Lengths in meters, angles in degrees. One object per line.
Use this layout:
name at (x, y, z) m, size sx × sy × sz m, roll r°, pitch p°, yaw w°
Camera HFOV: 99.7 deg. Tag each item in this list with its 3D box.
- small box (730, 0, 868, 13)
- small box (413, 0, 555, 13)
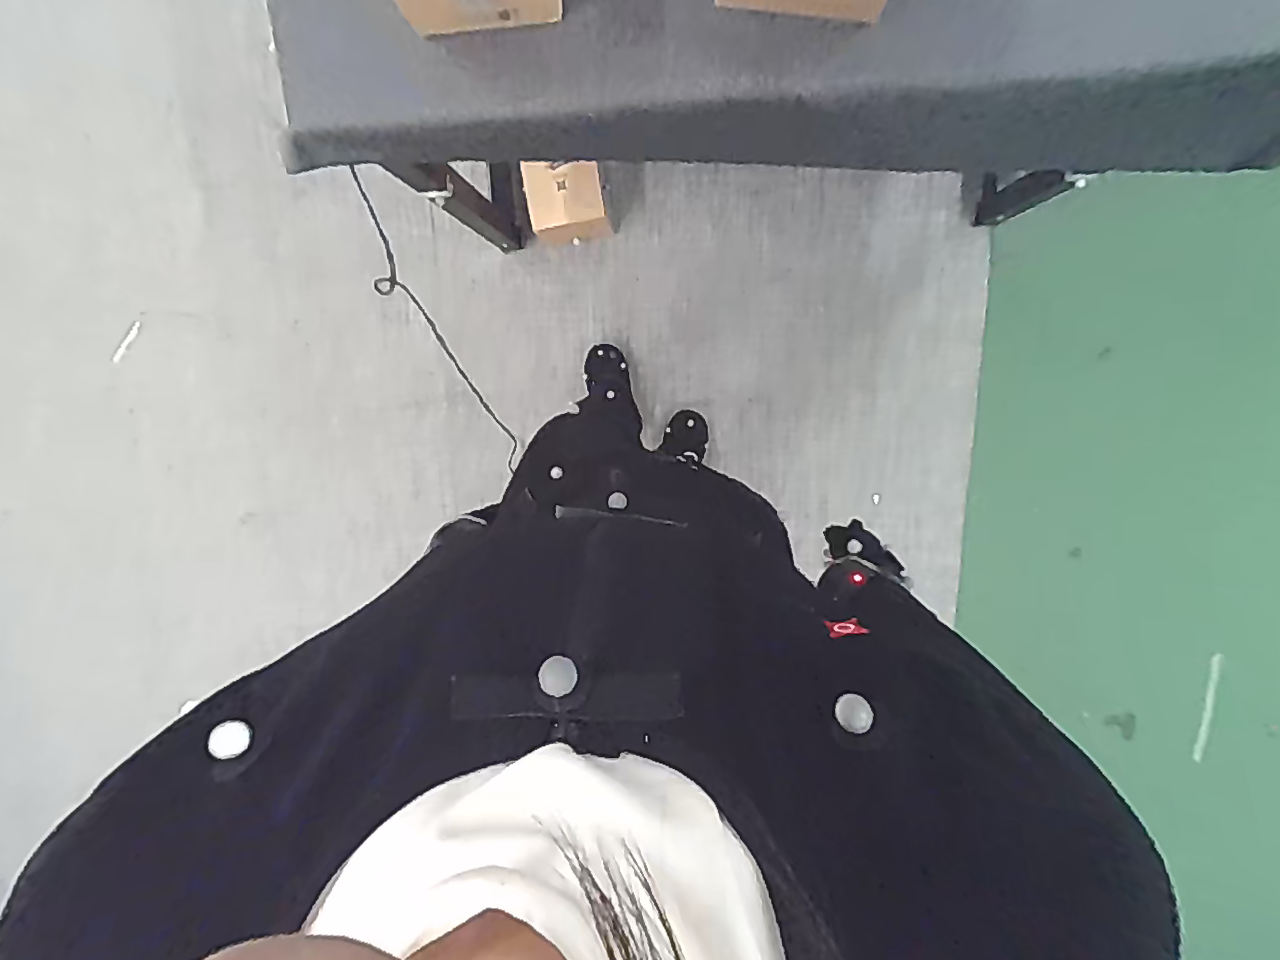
small box at (0.171, -0.572, 0.489) m, size 0.179 × 0.176 × 0.168 m, roll 9°, pitch 100°, yaw 3°
small box at (-0.176, -0.582, 0.505) m, size 0.168 × 0.176 × 0.179 m, roll -3°, pitch 100°, yaw 3°
